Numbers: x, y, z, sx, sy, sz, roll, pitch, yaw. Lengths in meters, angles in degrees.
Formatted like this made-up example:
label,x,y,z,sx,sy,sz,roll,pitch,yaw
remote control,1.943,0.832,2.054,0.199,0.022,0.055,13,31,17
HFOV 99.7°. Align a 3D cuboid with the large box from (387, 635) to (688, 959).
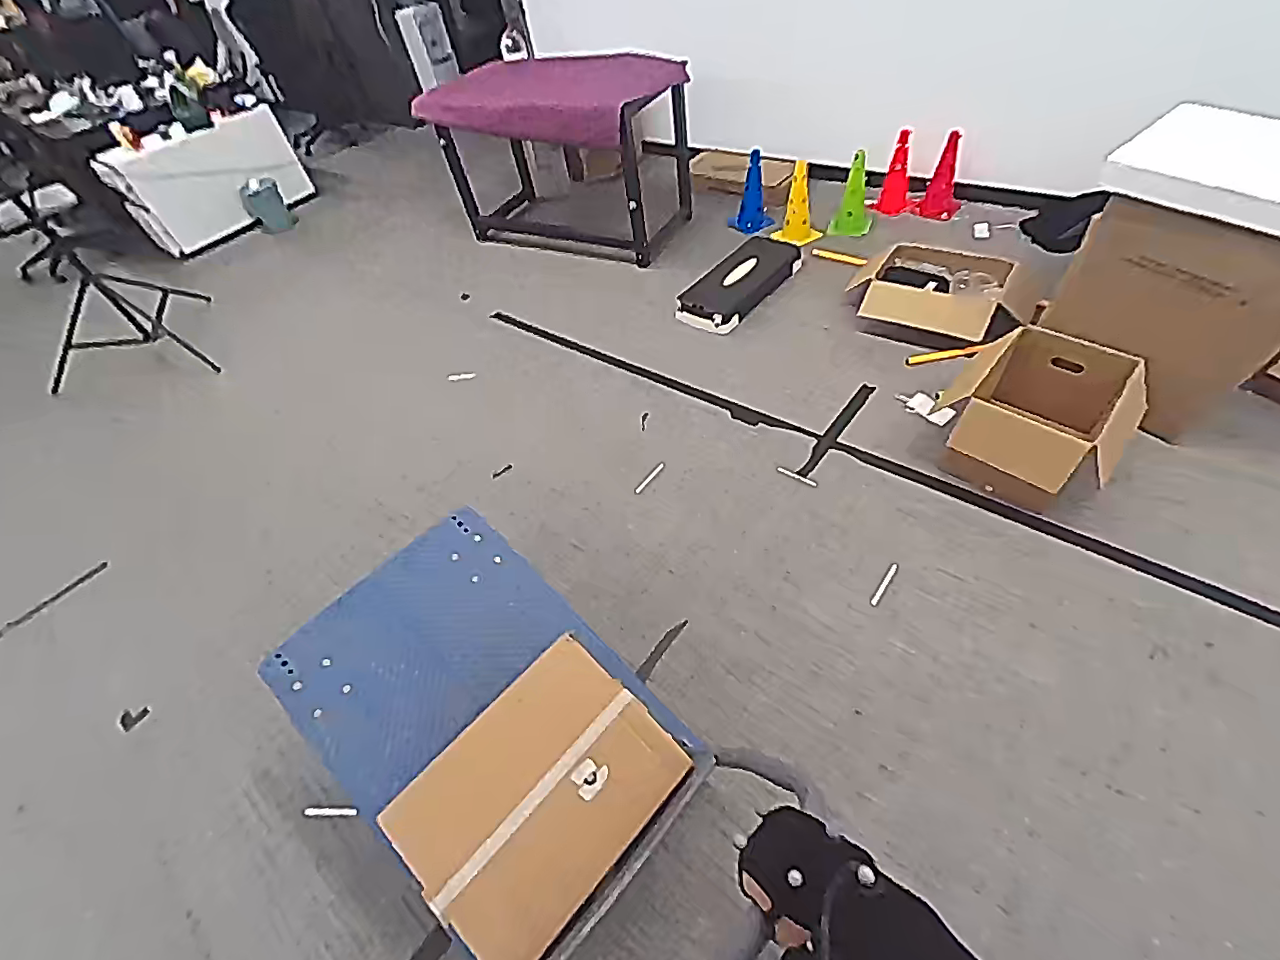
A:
label,x,y,z,sx,sy,sz,roll,pitch,yaw
large box,-0.170,0.576,1.013,0.320,0.320,0.408,40,65,15
